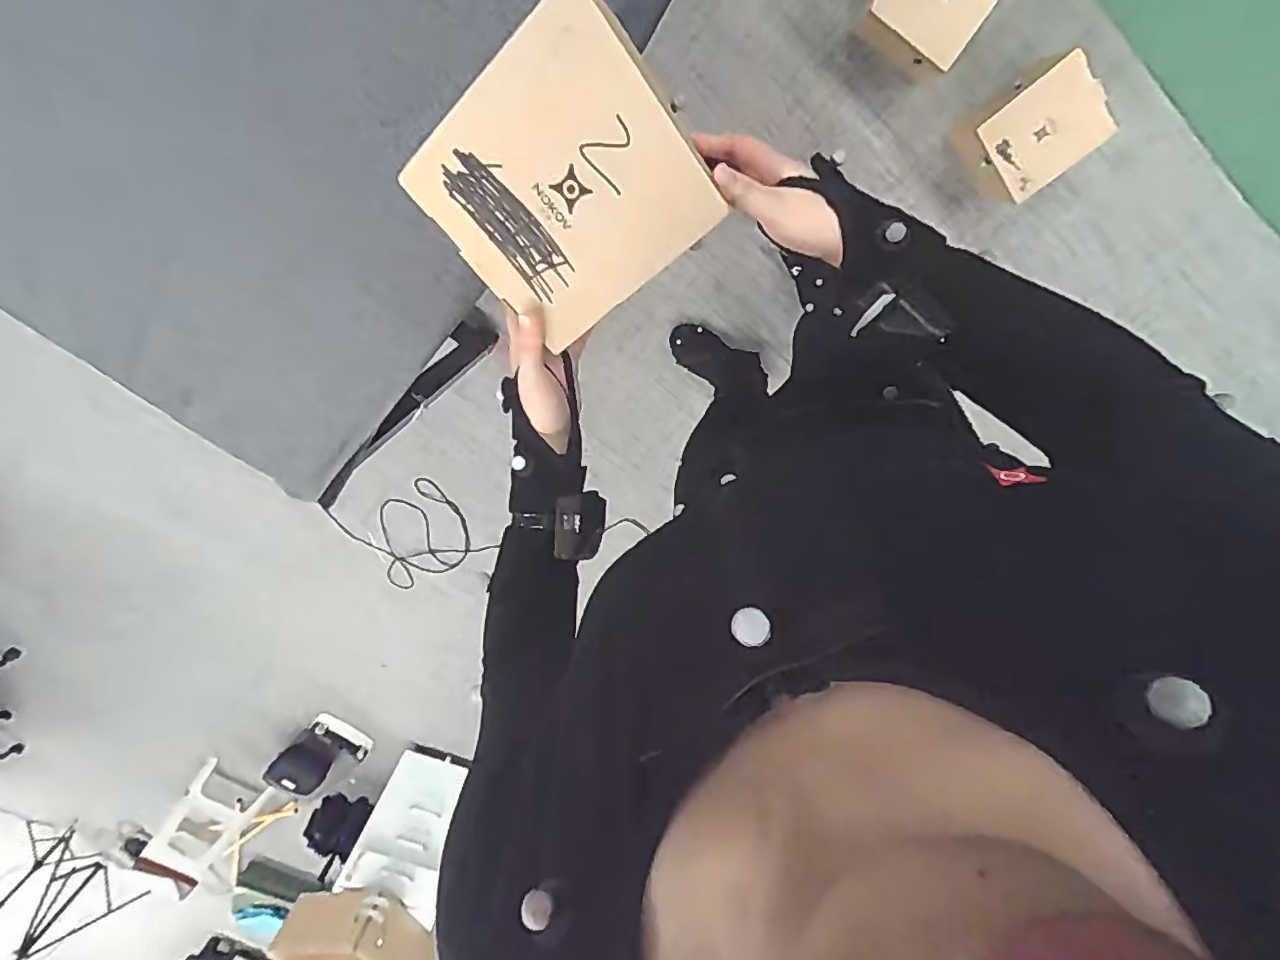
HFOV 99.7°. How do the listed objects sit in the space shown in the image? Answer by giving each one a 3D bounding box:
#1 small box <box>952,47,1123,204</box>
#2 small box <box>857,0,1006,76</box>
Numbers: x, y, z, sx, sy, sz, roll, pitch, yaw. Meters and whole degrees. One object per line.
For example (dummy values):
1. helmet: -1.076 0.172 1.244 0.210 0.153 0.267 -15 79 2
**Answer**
1. small box: 0.732 -0.656 1.013 0.179 0.176 0.168 -35 111 26
2. small box: 0.512 -0.839 0.937 0.179 0.176 0.168 30 120 -10
